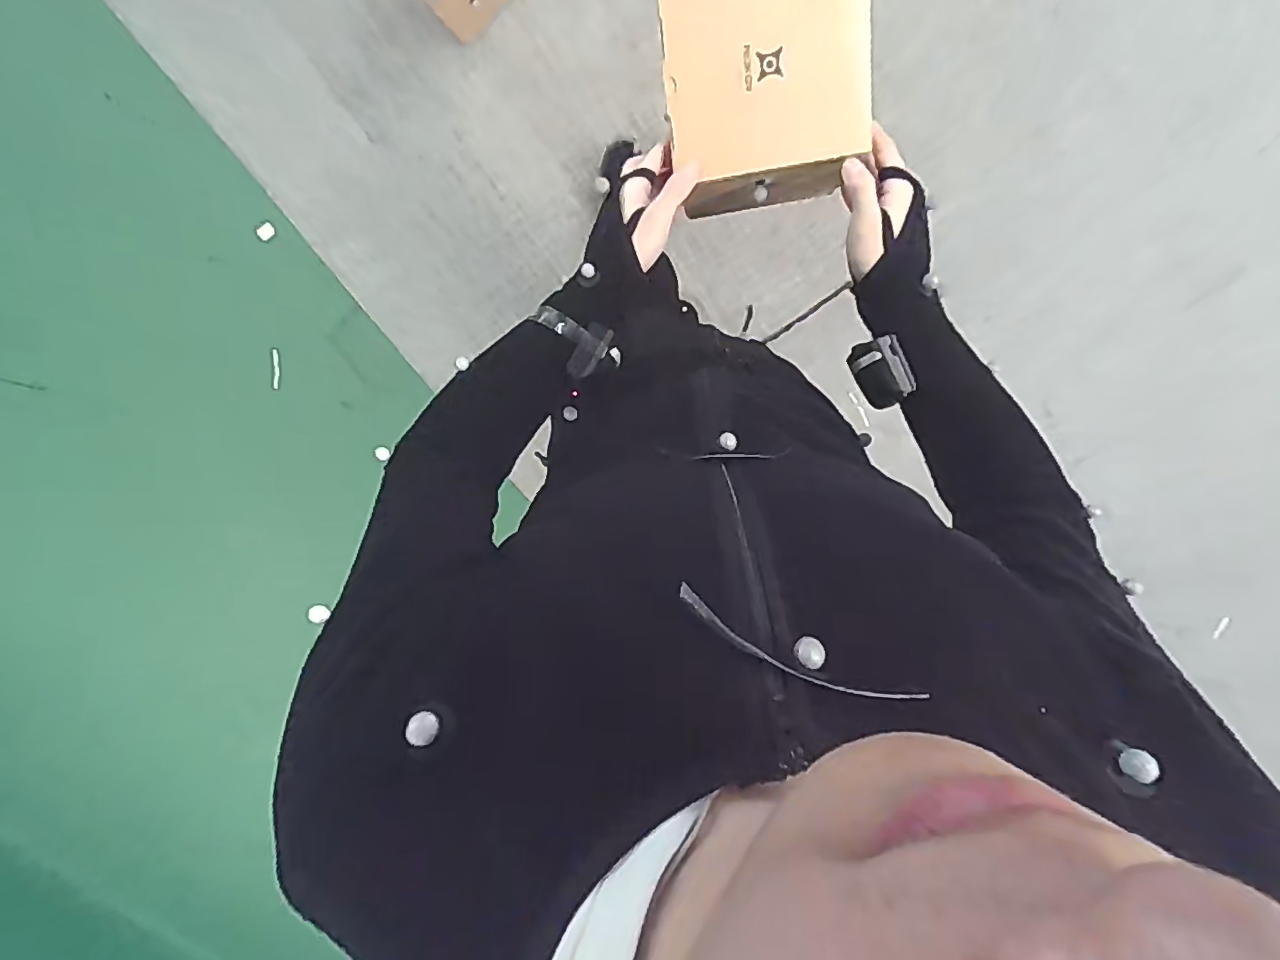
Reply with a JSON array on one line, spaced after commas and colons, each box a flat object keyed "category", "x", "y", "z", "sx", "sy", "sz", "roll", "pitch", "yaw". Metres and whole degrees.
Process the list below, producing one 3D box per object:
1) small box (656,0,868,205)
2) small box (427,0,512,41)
[{"category": "small box", "x": 0.118, "y": -0.393, "z": 0.544, "sx": 0.179, "sy": 0.176, "sz": 0.168, "roll": -4, "pitch": 105, "yaw": 11}, {"category": "small box", "x": -0.387, "y": -1.089, "z": 1.145, "sx": 0.179, "sy": 0.176, "sz": 0.168, "roll": -32, "pitch": 108, "yaw": 14}]
